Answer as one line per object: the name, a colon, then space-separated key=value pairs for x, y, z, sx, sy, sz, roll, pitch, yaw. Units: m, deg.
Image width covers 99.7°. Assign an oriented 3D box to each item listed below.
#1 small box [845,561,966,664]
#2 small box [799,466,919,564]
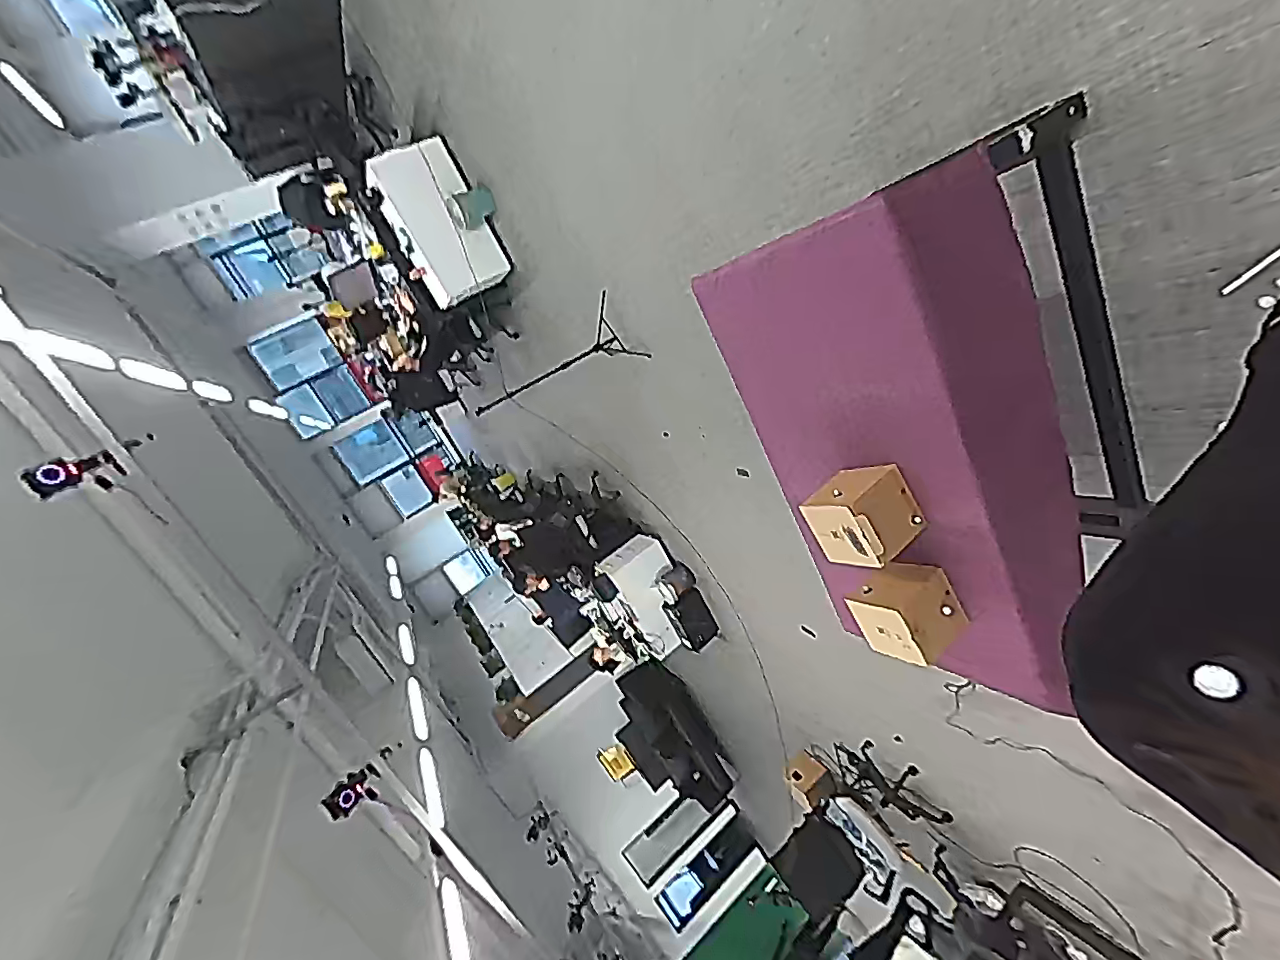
small box: x=0.656 y=0.318 z=1.338 sx=0.168 sy=0.176 sz=0.179 roll=59 pitch=159 yaw=-10
small box: x=0.521 y=0.079 z=1.273 sx=0.168 sy=0.176 sz=0.179 roll=58 pitch=160 yaw=-8
